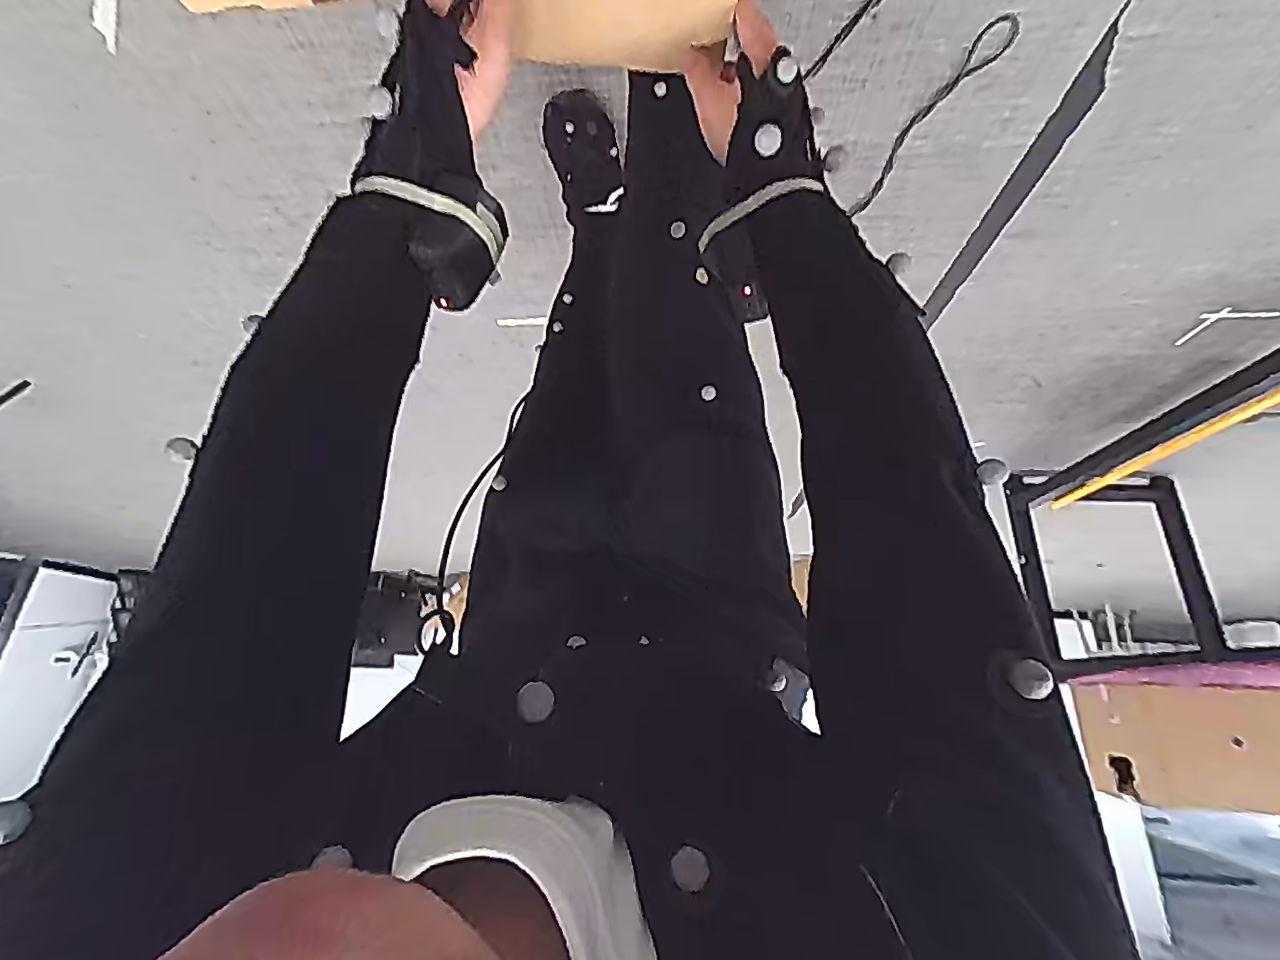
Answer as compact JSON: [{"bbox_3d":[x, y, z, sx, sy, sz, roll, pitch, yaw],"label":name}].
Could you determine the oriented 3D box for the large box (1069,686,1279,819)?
[{"bbox_3d":[1.566,0.759,1.542,0.408,0.320,0.320,0,160,5],"label":"large box"}]

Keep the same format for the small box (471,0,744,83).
[{"bbox_3d":[-0.012,-0.401,0.345,0.179,0.176,0.168,5,151,-8],"label":"small box"}]
